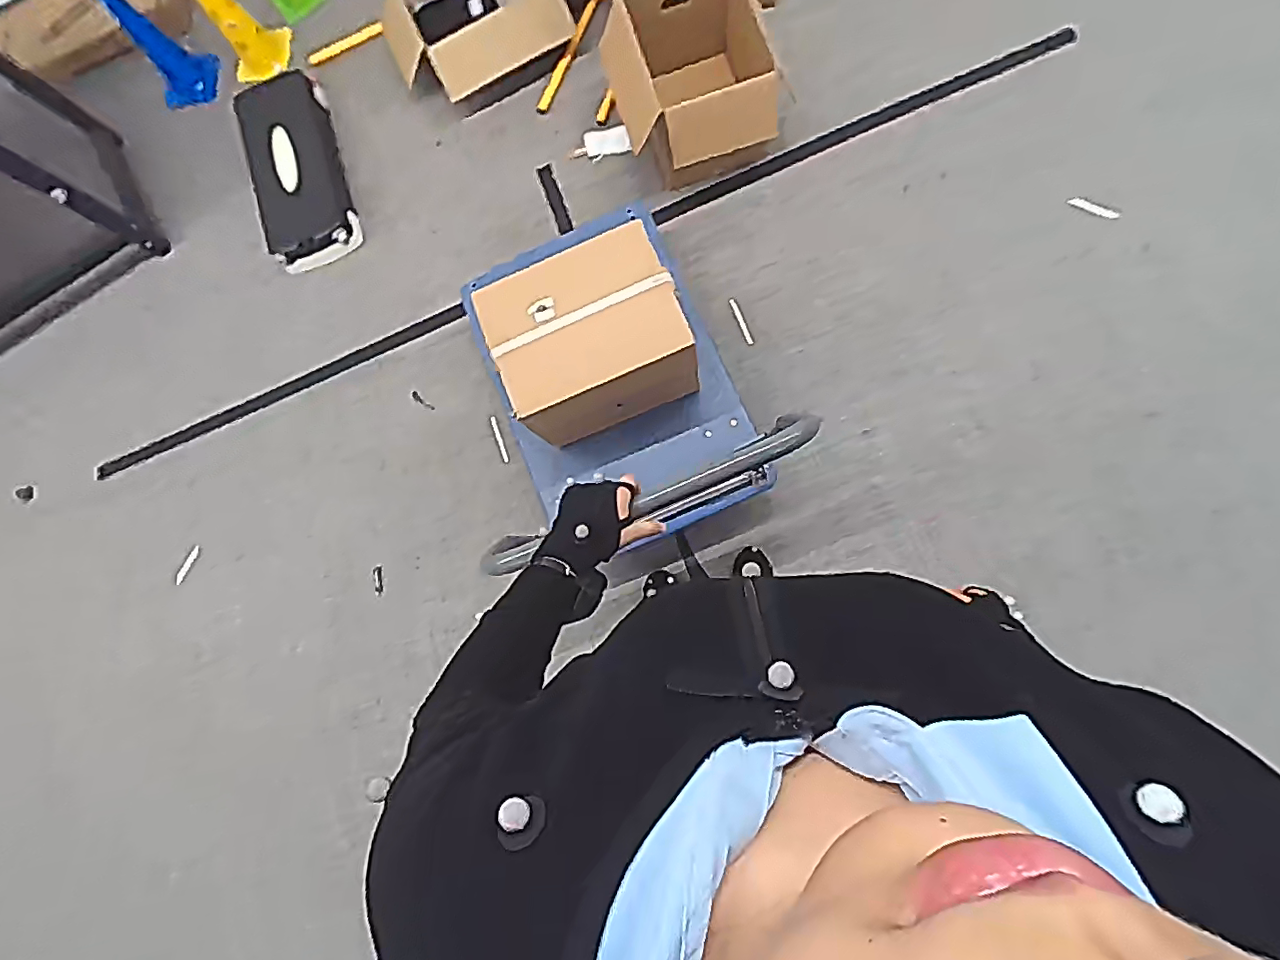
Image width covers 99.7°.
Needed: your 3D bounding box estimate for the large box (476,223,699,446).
[{"bbox_3d":[-0.105,-0.321,1.297,0.408,0.320,0.320,-23,78,5],"label":"large box"}]
